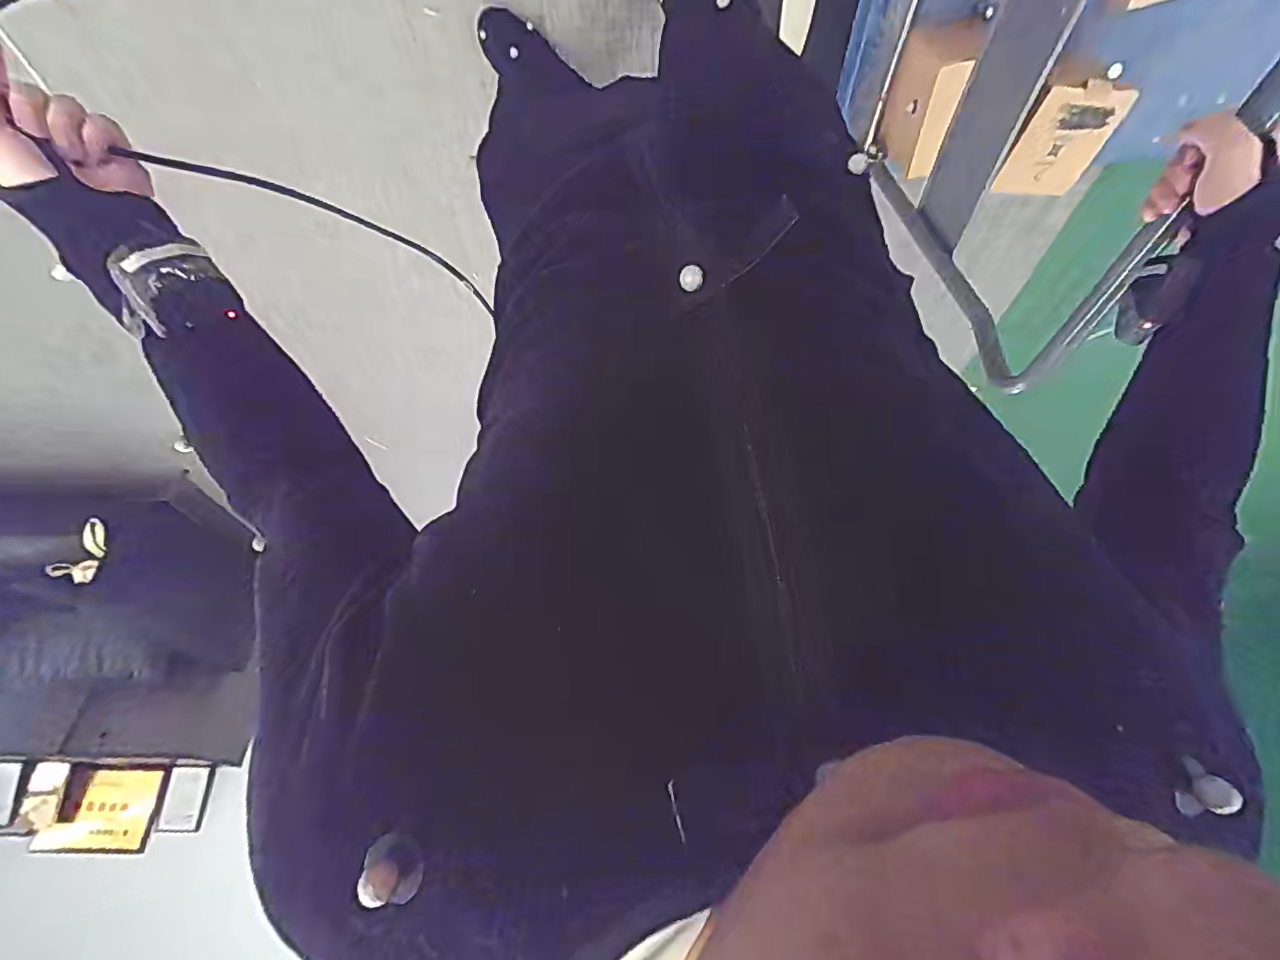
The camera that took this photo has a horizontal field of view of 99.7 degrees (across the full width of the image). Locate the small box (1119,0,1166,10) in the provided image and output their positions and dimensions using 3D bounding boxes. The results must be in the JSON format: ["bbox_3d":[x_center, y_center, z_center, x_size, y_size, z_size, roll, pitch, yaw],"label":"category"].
[{"bbox_3d":[0.762,-0.807,0.755,0.179,0.176,0.168,-12,146,7],"label":"small box"}]
